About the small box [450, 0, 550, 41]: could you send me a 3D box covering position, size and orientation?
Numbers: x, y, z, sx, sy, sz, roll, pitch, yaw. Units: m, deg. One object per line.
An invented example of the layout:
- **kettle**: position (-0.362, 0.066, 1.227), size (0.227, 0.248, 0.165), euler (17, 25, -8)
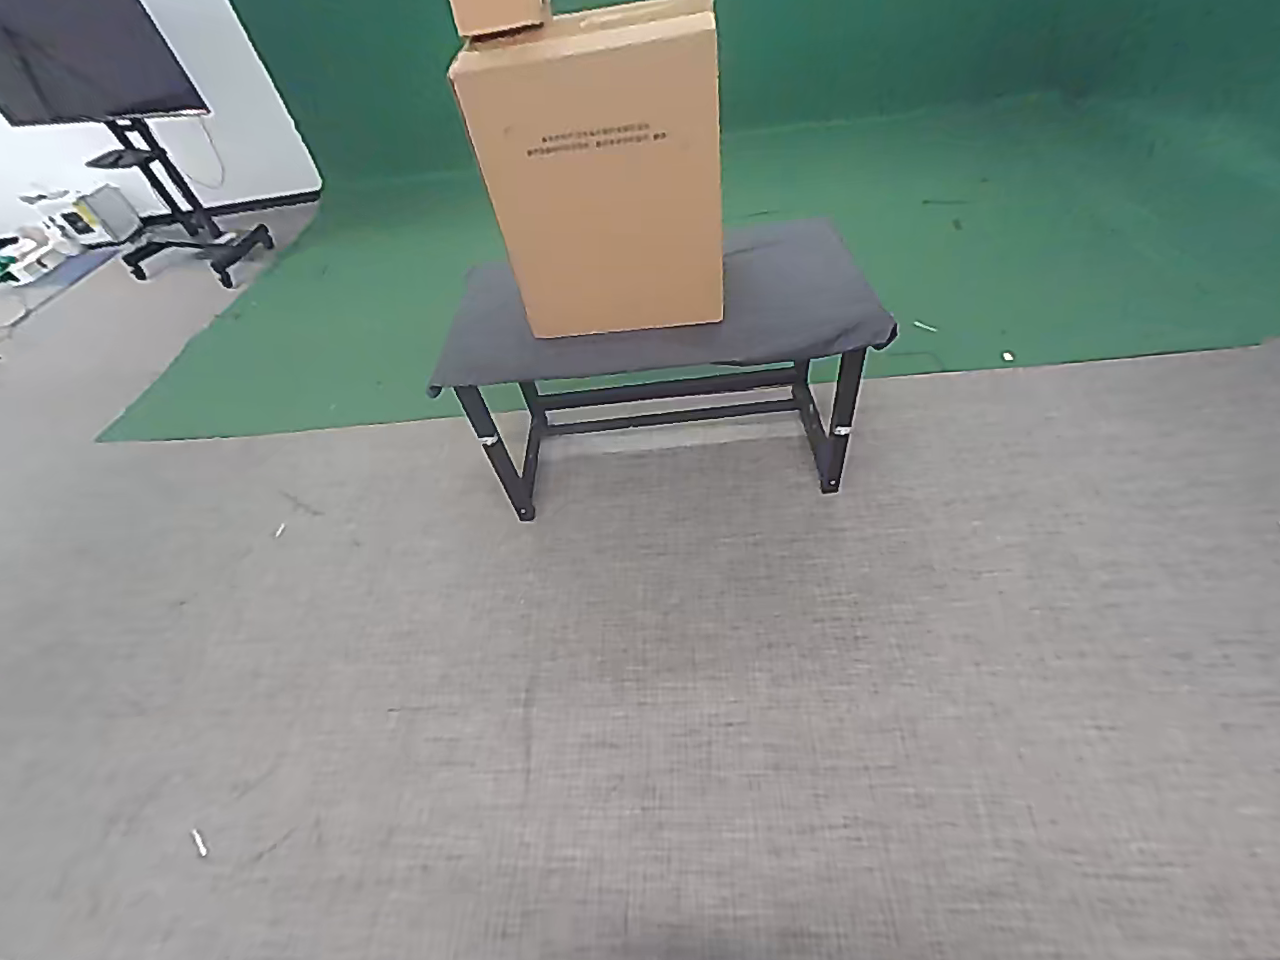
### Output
- **small box**: position (-0.298, -1.028, 1.119), size (0.179, 0.176, 0.168), euler (-4, 42, 4)
